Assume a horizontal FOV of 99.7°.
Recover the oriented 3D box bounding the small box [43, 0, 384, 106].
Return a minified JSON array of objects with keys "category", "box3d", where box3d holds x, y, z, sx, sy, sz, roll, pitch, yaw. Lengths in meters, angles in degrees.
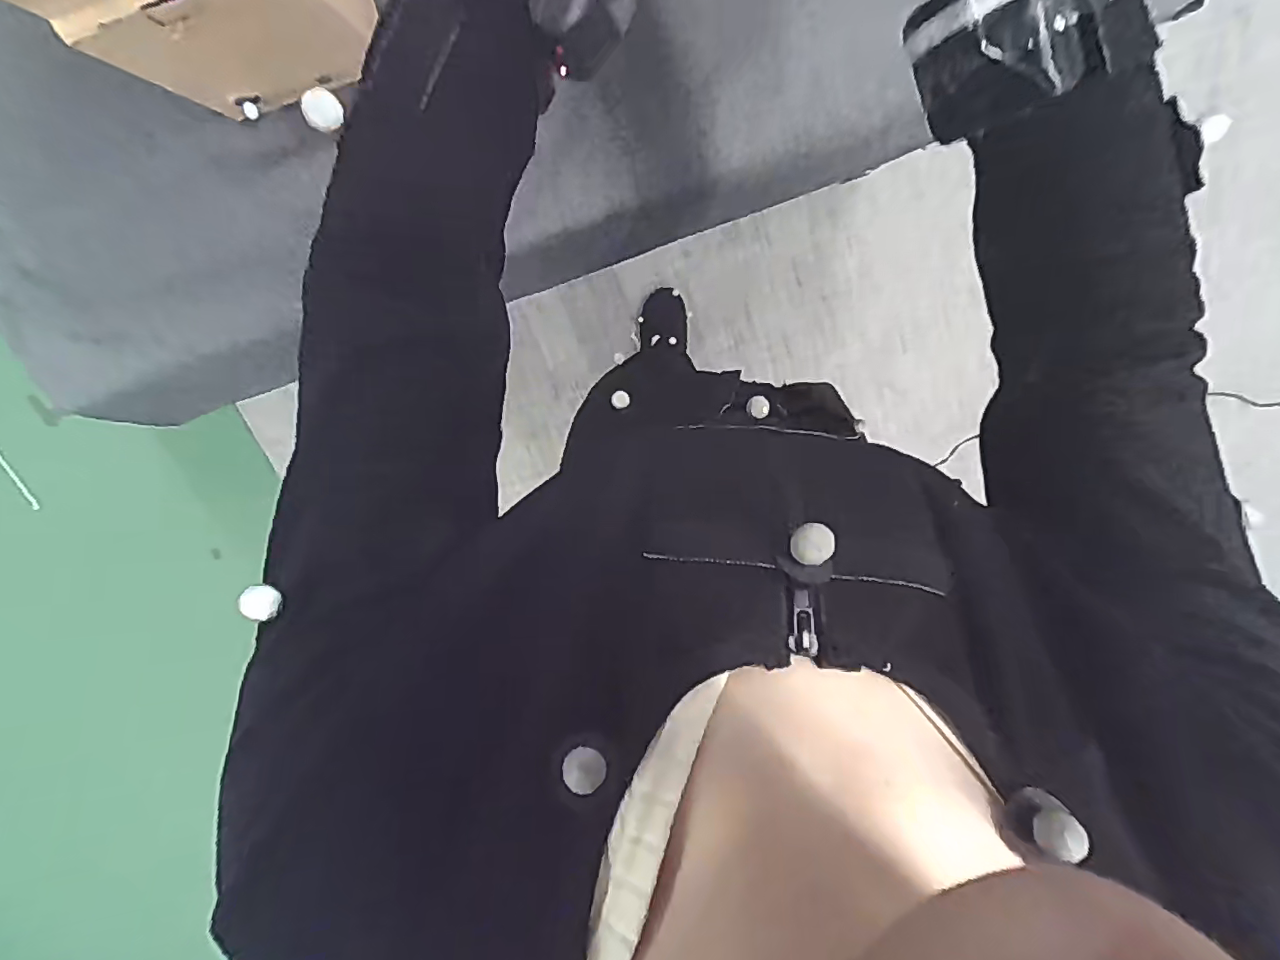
[{"category":"small box","box3d":[-0.329,-0.417,0.408,0.168,0.176,0.179,-14,106,5]}]
